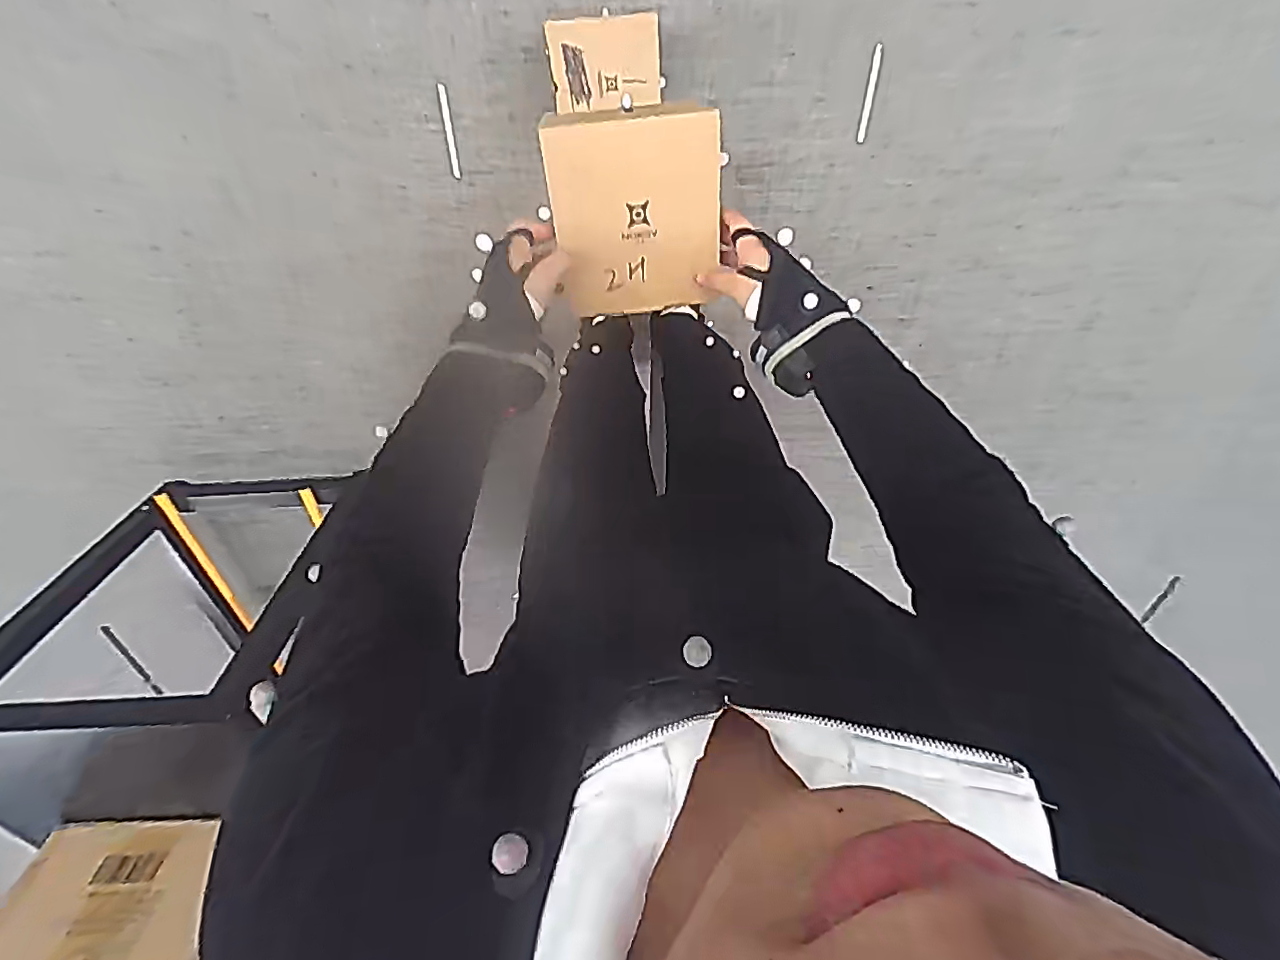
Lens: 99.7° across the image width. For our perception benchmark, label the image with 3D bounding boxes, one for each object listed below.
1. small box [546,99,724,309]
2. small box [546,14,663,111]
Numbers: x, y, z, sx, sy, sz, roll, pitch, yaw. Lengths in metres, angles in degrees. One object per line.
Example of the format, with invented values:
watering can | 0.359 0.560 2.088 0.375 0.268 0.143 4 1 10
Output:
small box | -0.009 -0.307 0.594 0.168 0.176 0.179 -6 127 -2
small box | -0.054 -0.674 0.922 0.179 0.176 0.168 -5 127 0
